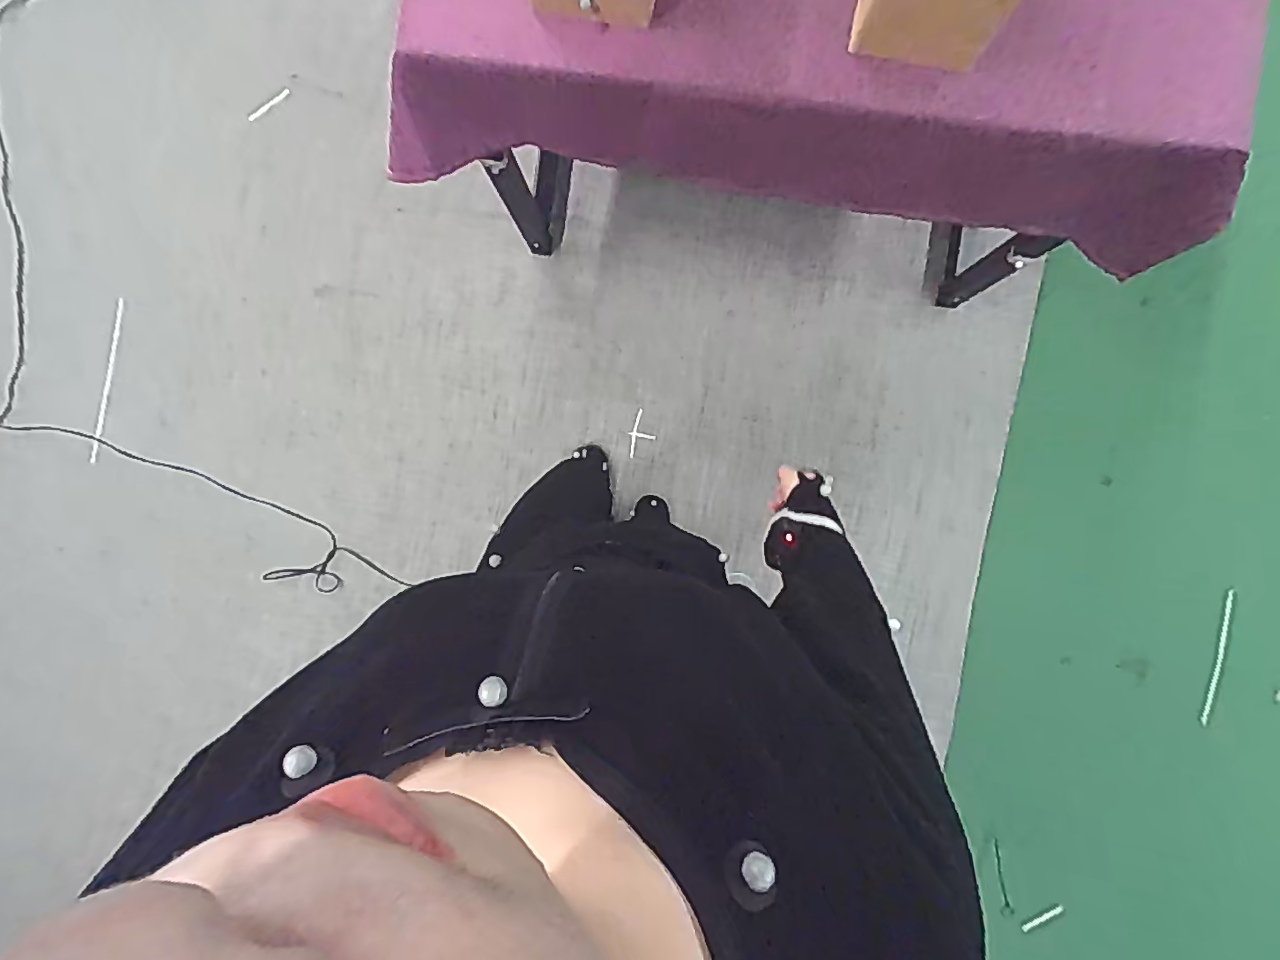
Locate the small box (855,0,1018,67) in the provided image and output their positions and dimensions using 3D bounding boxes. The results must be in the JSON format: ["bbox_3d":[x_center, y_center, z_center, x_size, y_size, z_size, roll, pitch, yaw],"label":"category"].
[{"bbox_3d":[0.392,-0.665,0.676,0.179,0.176,0.168,12,90,2],"label":"small box"}]

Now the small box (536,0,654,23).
[{"bbox_3d":[-0.054,-0.740,0.692,0.179,0.176,0.168,11,90,2],"label":"small box"}]
